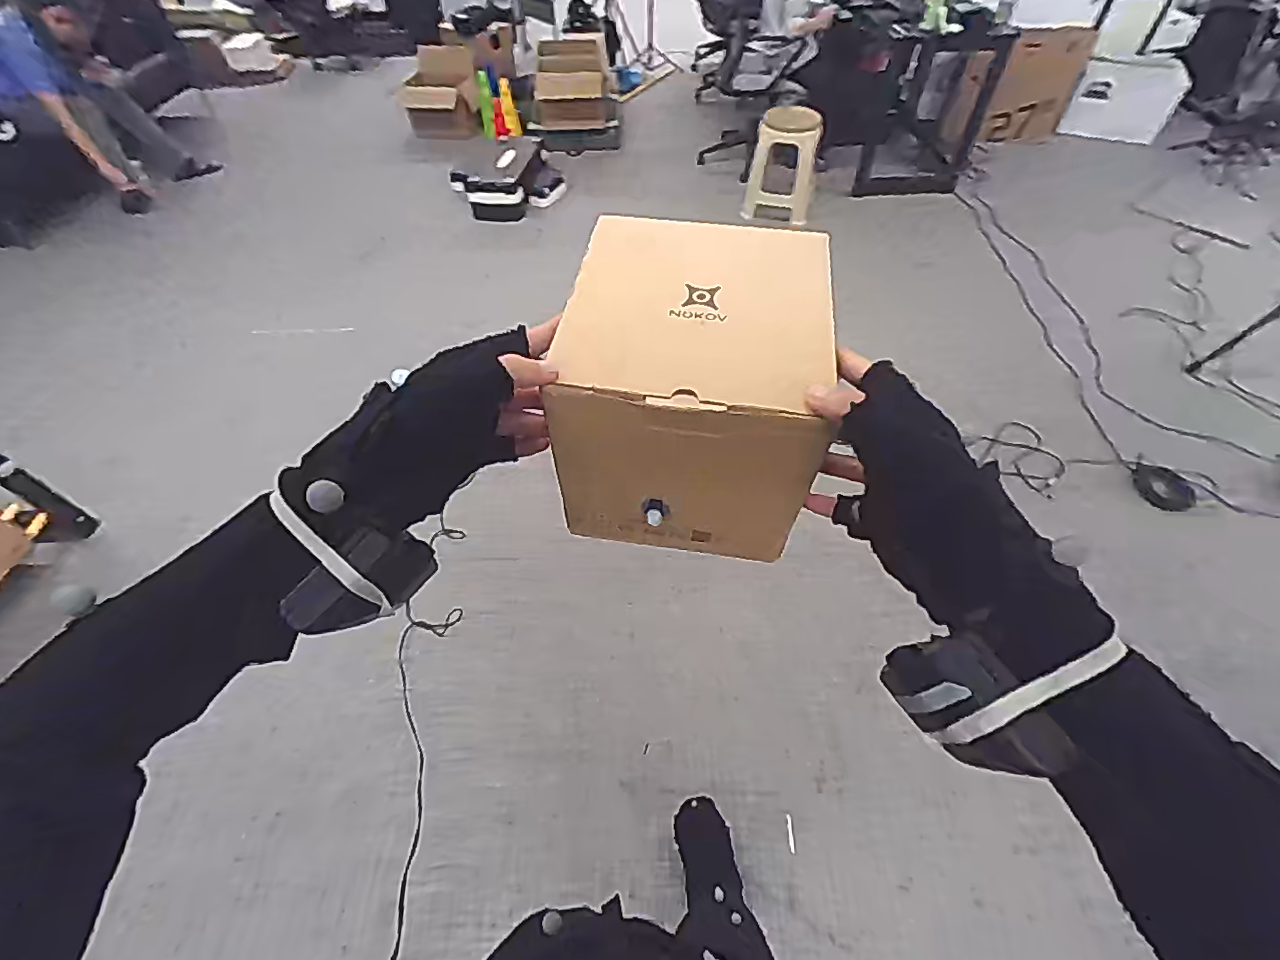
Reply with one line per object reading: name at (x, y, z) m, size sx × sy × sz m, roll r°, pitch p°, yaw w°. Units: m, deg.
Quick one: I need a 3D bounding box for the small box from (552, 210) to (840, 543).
small box at (0.040, -0.075, 0.413) m, size 0.168 × 0.176 × 0.179 m, roll 6°, pitch 55°, yaw 5°
